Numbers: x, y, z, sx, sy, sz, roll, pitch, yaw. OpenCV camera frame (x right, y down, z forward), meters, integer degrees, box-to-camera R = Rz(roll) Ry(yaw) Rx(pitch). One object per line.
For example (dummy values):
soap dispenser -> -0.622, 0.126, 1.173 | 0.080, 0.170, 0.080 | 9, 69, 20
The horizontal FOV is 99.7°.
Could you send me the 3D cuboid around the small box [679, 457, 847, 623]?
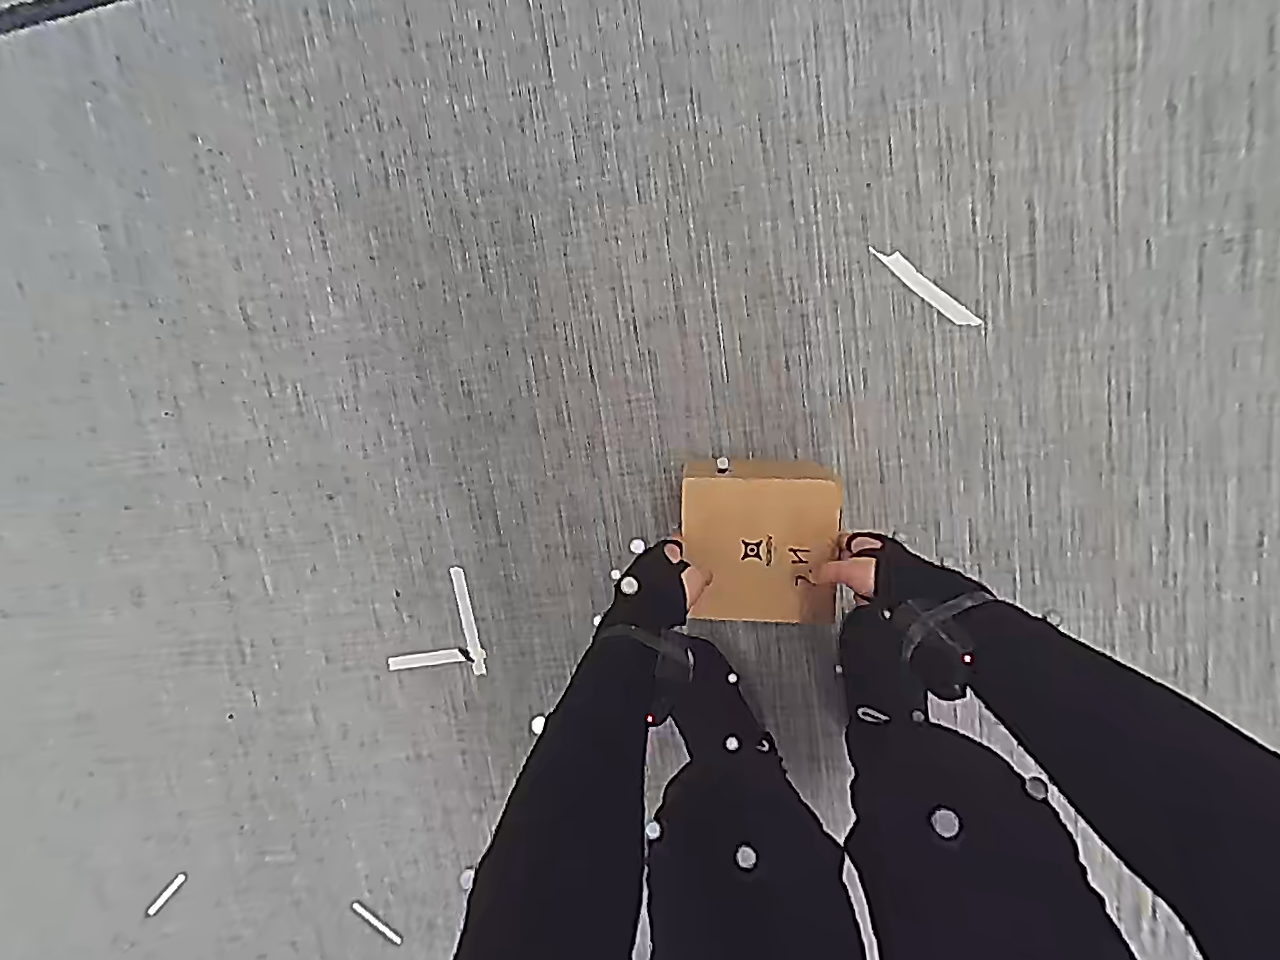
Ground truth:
small box -> 0.142, 0.063, 0.676 | 0.179, 0.176, 0.168 | 2, 100, 5
